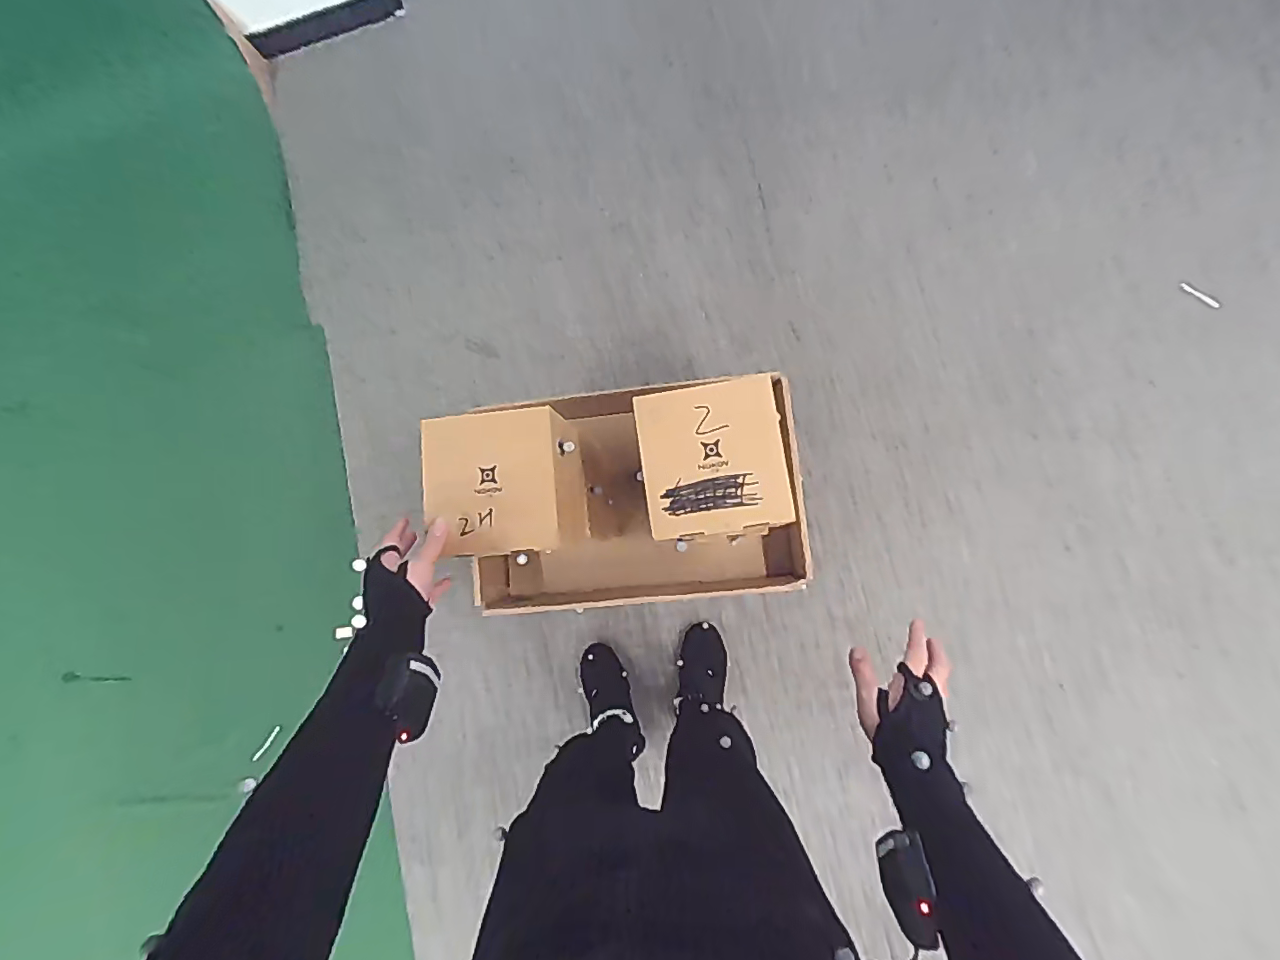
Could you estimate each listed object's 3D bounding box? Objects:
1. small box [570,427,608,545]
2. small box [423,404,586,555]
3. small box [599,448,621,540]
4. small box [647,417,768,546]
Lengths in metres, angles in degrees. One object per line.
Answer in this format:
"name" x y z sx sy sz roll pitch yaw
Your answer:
"small box" -0.149 0.020 0.886 0.168 0.176 0.179 -5 83 6
"small box" -0.172 0.008 0.724 0.168 0.176 0.179 -5 83 6
"small box" -0.139 0.037 1.049 0.179 0.176 0.168 -4 83 6
"small box" 0.105 0.010 0.855 0.168 0.176 0.179 -5 82 5
